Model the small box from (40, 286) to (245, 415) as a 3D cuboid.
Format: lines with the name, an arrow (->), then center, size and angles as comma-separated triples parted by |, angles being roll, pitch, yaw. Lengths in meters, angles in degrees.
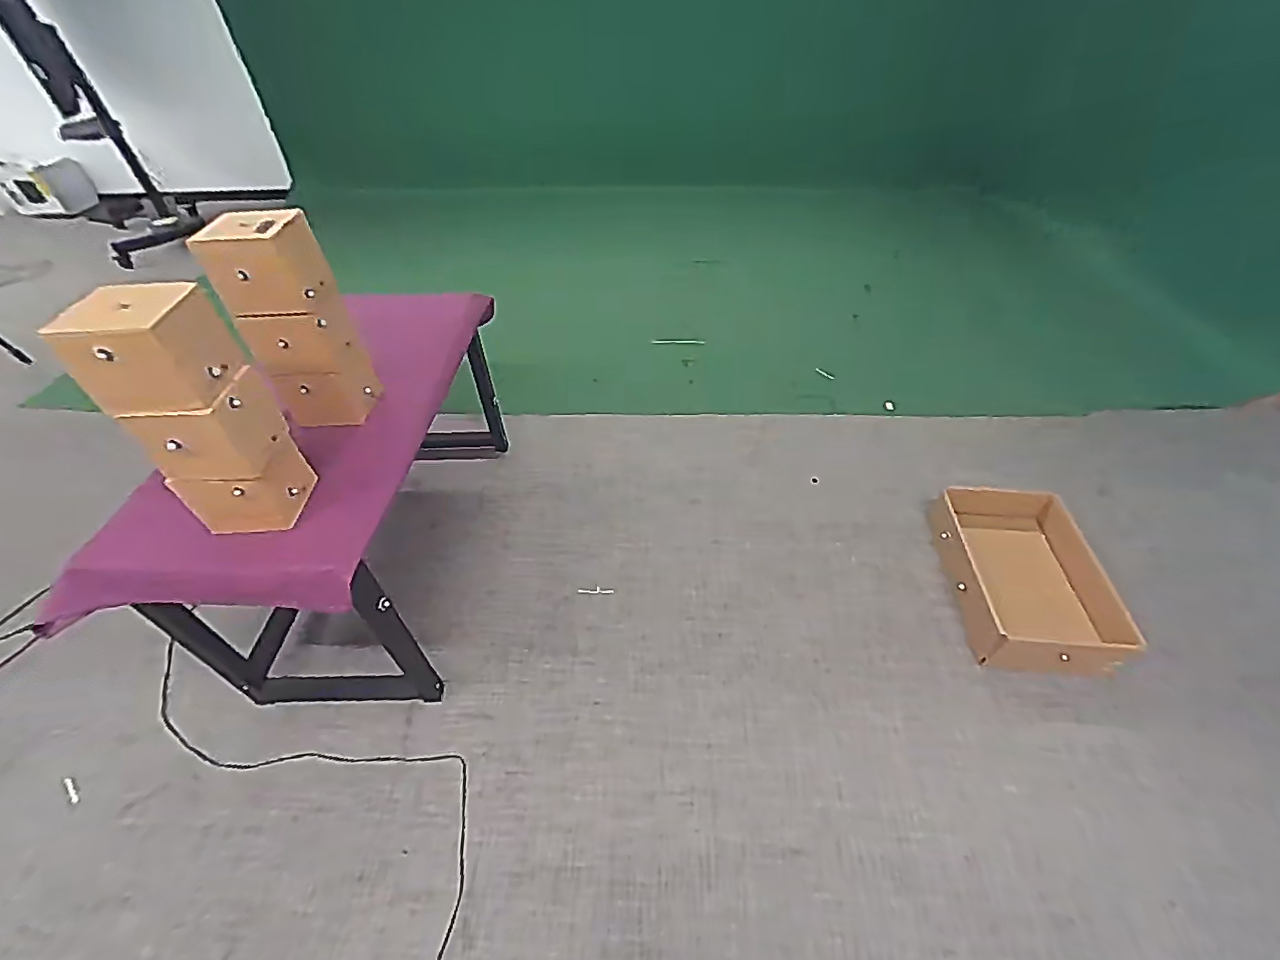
small box -> -0.872, -0.230, 0.973 | 0.179, 0.176, 0.168 | -3, 45, -2

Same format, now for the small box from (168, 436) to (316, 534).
small box -> -0.866, 0.007, 1.199 | 0.179, 0.176, 0.168 | -3, 45, -2

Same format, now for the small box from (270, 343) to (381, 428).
small box -> -0.834, -0.251, 1.453 | 0.179, 0.176, 0.168 | -1, 46, 1

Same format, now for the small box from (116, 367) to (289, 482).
small box -> -0.857, -0.109, 1.083 | 0.179, 0.176, 0.168 | -2, 45, 0

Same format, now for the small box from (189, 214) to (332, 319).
small box -> -0.835, -0.478, 1.215 | 0.179, 0.176, 0.168 | -3, 45, 1
